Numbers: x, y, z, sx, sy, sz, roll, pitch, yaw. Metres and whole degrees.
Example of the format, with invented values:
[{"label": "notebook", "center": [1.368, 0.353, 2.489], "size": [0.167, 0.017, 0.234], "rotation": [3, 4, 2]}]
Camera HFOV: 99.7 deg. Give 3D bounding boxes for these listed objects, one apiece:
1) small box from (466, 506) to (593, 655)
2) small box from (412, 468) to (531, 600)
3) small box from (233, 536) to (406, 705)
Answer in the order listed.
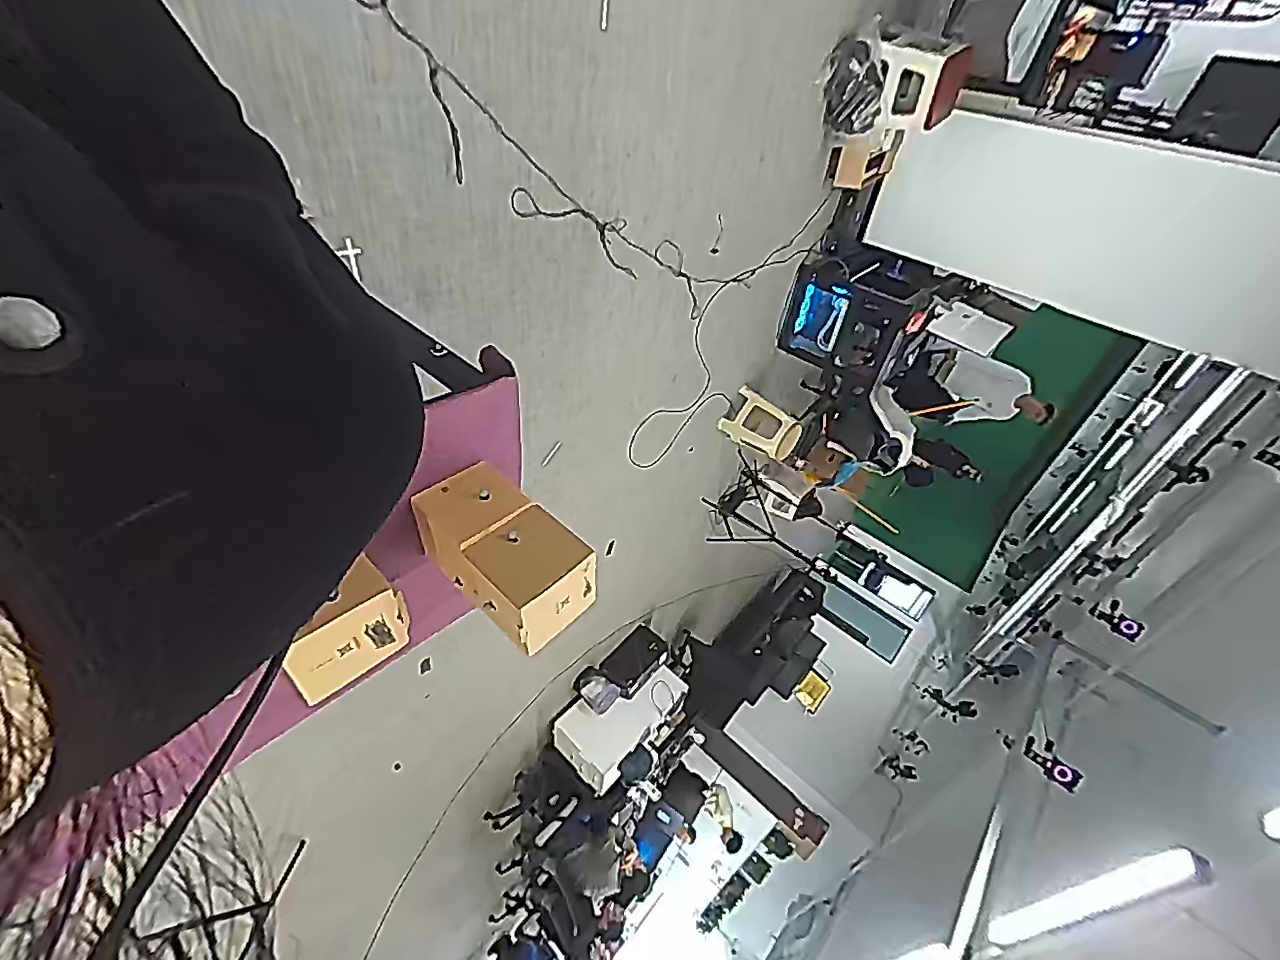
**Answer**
[{"label": "small box", "center": [-0.208, 0.184, 1.019], "size": [0.179, 0.176, 0.168], "rotation": [-35, 147, -34]}, {"label": "small box", "center": [-0.332, 0.098, 1.084], "size": [0.168, 0.176, 0.179], "rotation": [-35, 147, -35]}, {"label": "small box", "center": [-0.527, 0.226, 0.904], "size": [0.179, 0.176, 0.168], "rotation": [-33, 145, -36]}]
